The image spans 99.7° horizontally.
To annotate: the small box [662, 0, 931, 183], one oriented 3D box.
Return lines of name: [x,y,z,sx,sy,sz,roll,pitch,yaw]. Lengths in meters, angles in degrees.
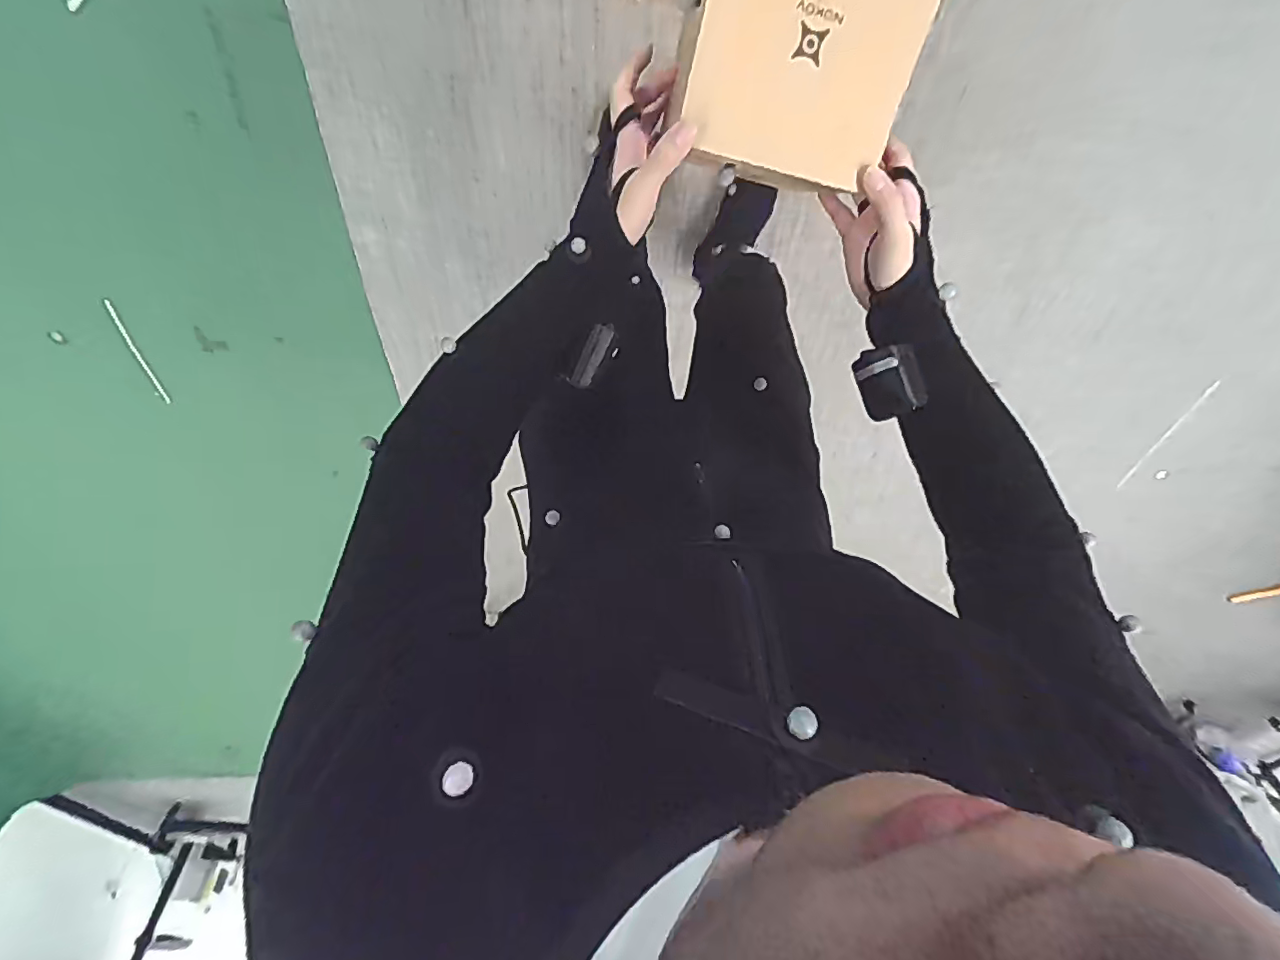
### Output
small box: [0.118,-0.367,0.458,0.168,0.176,0.179,10,115,-8]
